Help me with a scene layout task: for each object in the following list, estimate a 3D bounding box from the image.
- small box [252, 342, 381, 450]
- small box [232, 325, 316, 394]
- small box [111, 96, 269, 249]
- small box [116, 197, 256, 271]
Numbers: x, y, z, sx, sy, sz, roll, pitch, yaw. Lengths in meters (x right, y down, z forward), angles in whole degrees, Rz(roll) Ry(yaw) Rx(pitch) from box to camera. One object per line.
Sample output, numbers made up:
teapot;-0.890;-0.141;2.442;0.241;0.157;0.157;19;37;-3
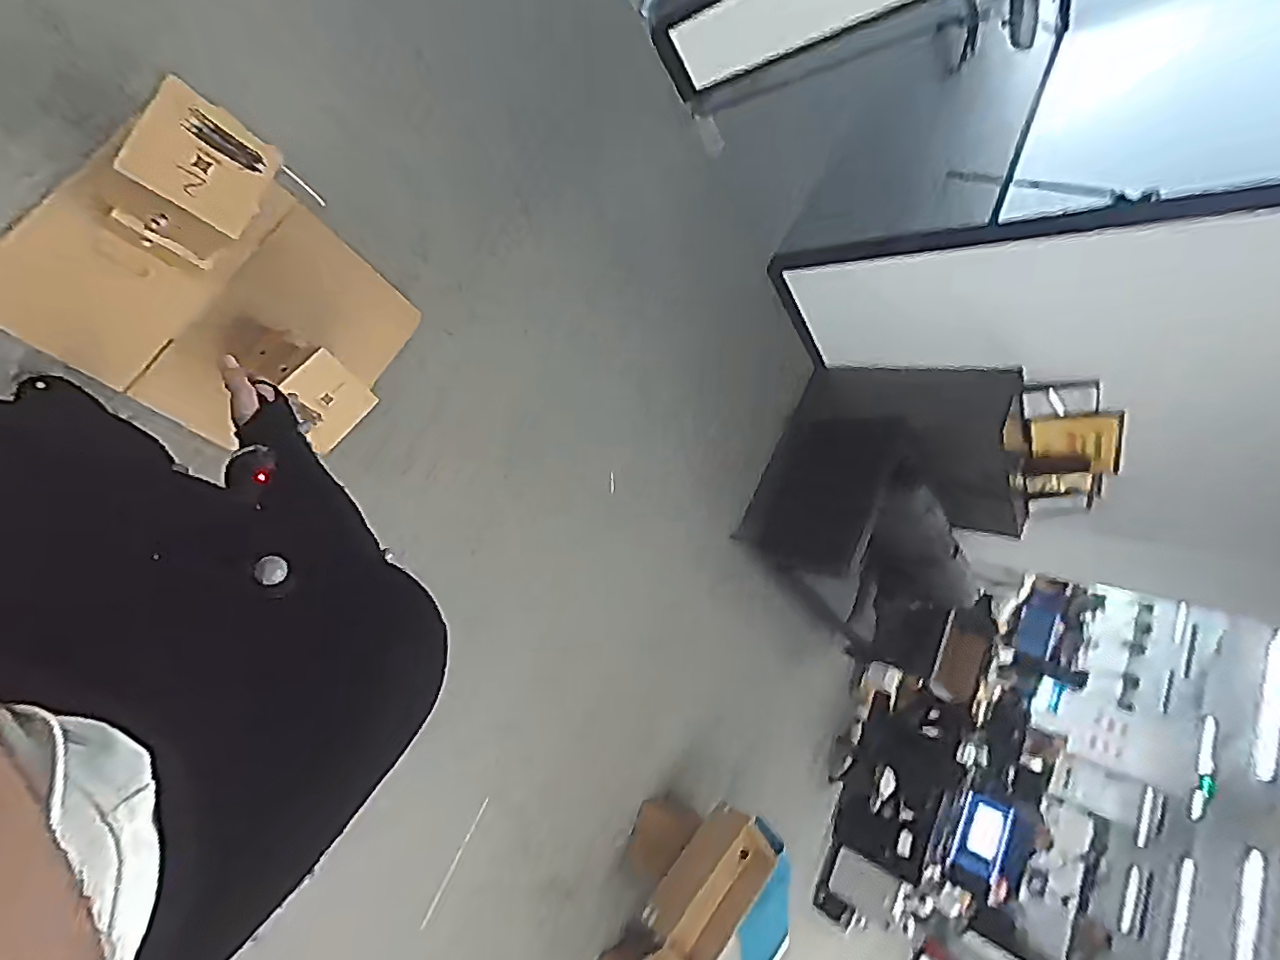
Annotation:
small box;-0.739;-0.192;1.228;0.179;0.176;0.168;-55;133;-23
small box;-0.860;-0.258;1.329;0.179;0.176;0.168;-58;134;-20
small box;-0.851;-0.565;1.023;0.168;0.176;0.179;36;73;-46
small box;-0.965;-0.570;1.144;0.168;0.176;0.179;35;74;-45
